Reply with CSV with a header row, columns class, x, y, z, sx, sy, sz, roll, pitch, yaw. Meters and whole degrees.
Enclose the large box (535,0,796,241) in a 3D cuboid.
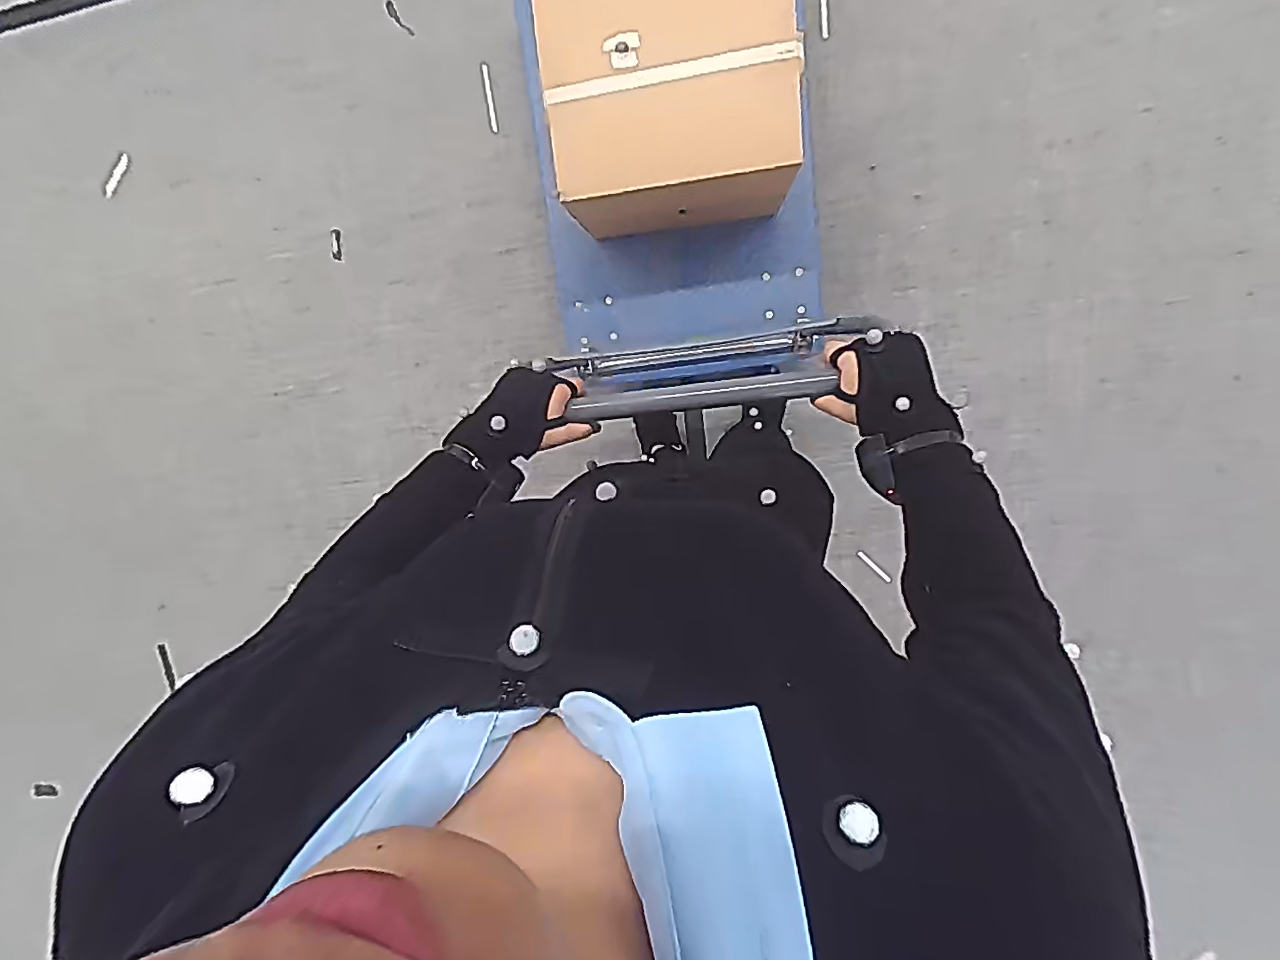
class,x,y,z,sx,sy,sz,roll,pitch,yaw
large box,0.061,-0.673,1.024,0.408,0.320,0.320,-5,101,8
